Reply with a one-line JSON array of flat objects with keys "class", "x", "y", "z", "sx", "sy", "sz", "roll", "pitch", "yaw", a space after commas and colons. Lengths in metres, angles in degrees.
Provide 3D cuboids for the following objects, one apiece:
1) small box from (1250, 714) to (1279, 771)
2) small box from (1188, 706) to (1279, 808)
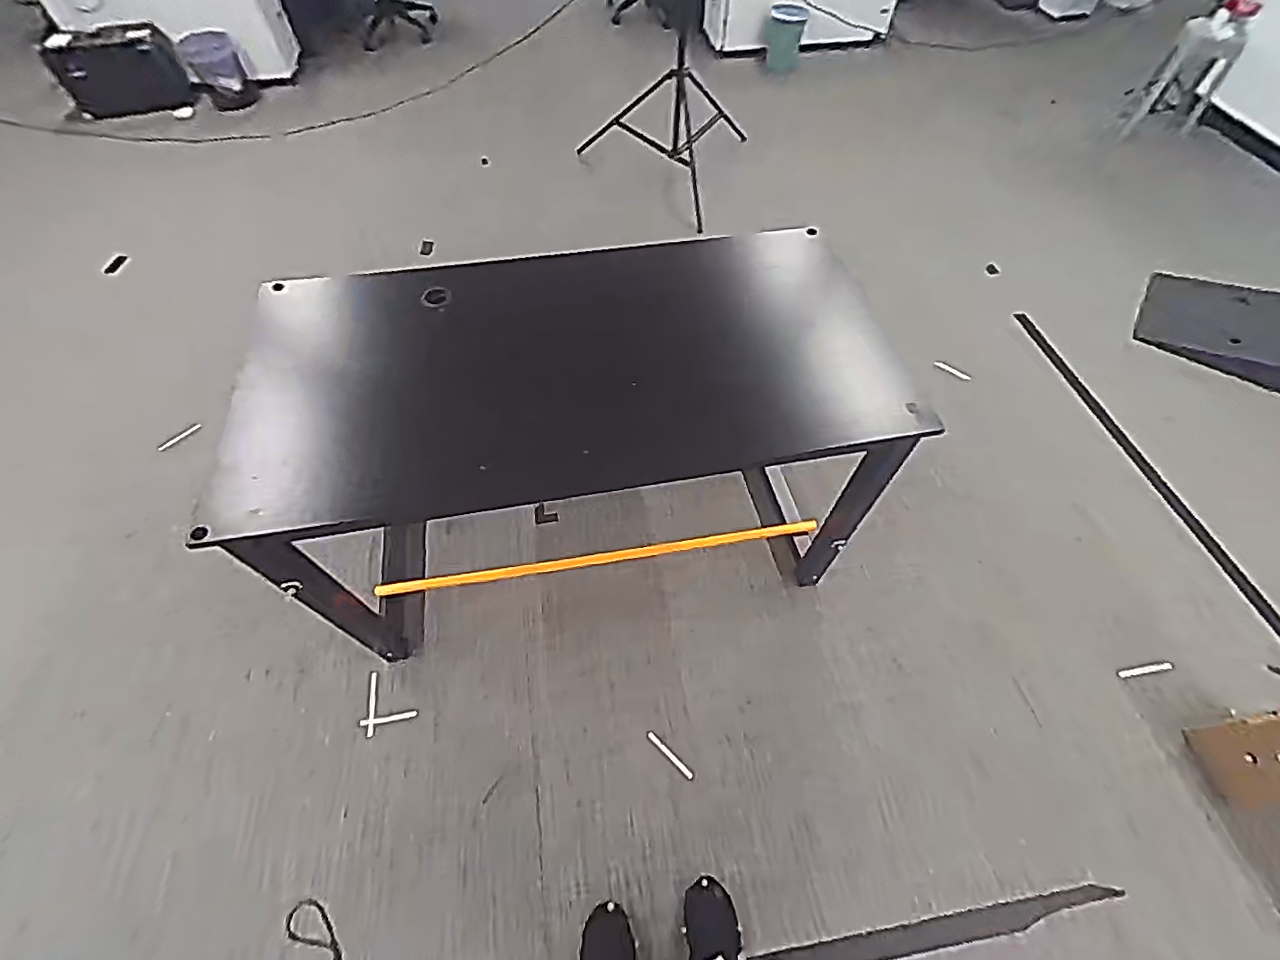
[{"class": "small box", "x": 1.431, "y": 0.544, "z": 1.091, "sx": 0.179, "sy": 0.176, "sz": 0.168, "roll": -13, "pitch": 56, "yaw": -7}, {"class": "small box", "x": 1.434, "y": 0.628, "z": 1.229, "sx": 0.168, "sy": 0.176, "sz": 0.179, "roll": -10, "pitch": 58, "yaw": -6}]
